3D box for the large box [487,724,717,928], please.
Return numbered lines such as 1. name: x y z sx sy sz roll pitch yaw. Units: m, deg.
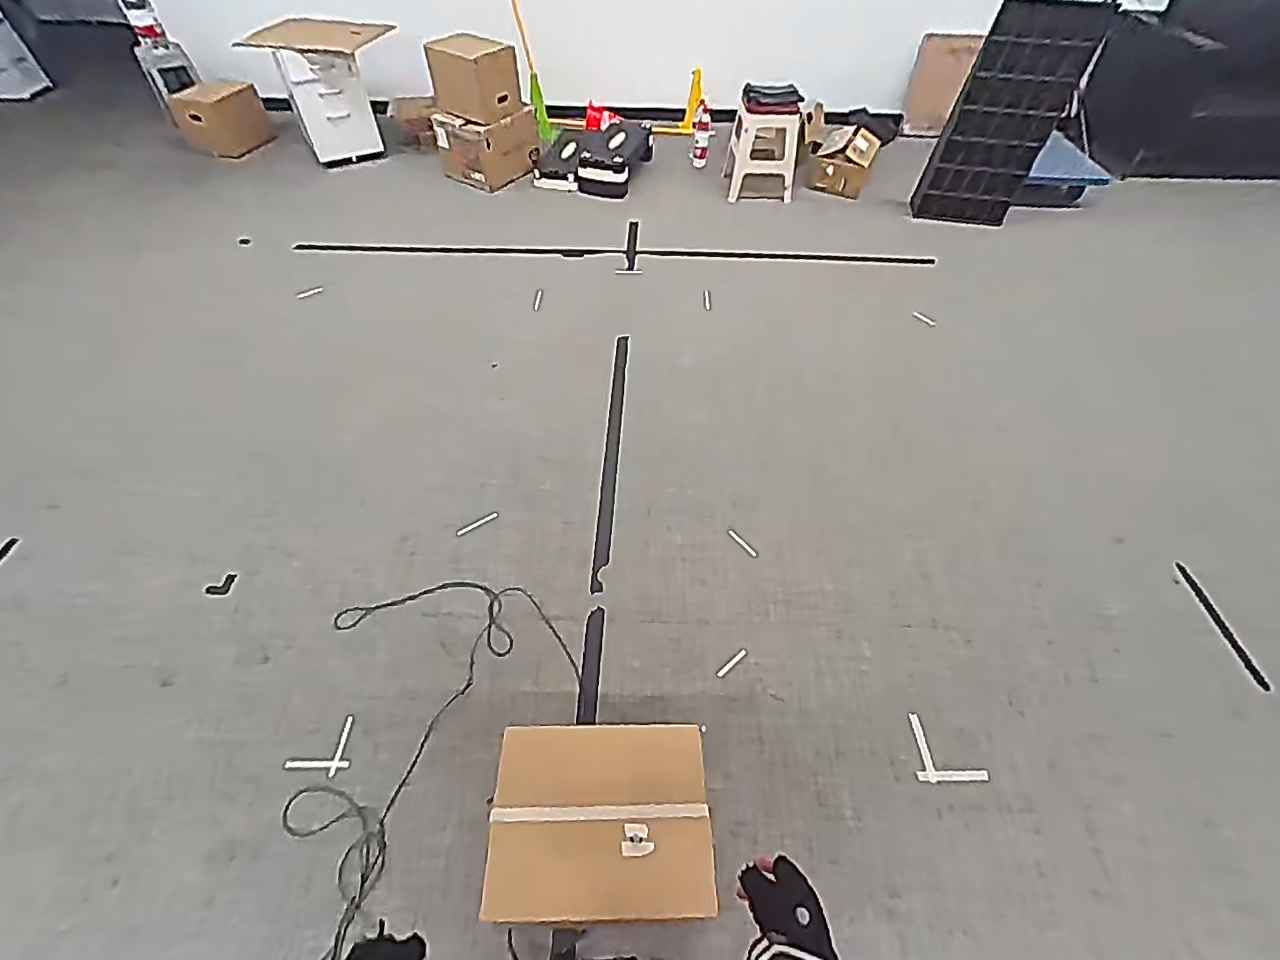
1. large box: -0.073 0.725 1.133 0.408 0.320 0.320 0 49 -2
